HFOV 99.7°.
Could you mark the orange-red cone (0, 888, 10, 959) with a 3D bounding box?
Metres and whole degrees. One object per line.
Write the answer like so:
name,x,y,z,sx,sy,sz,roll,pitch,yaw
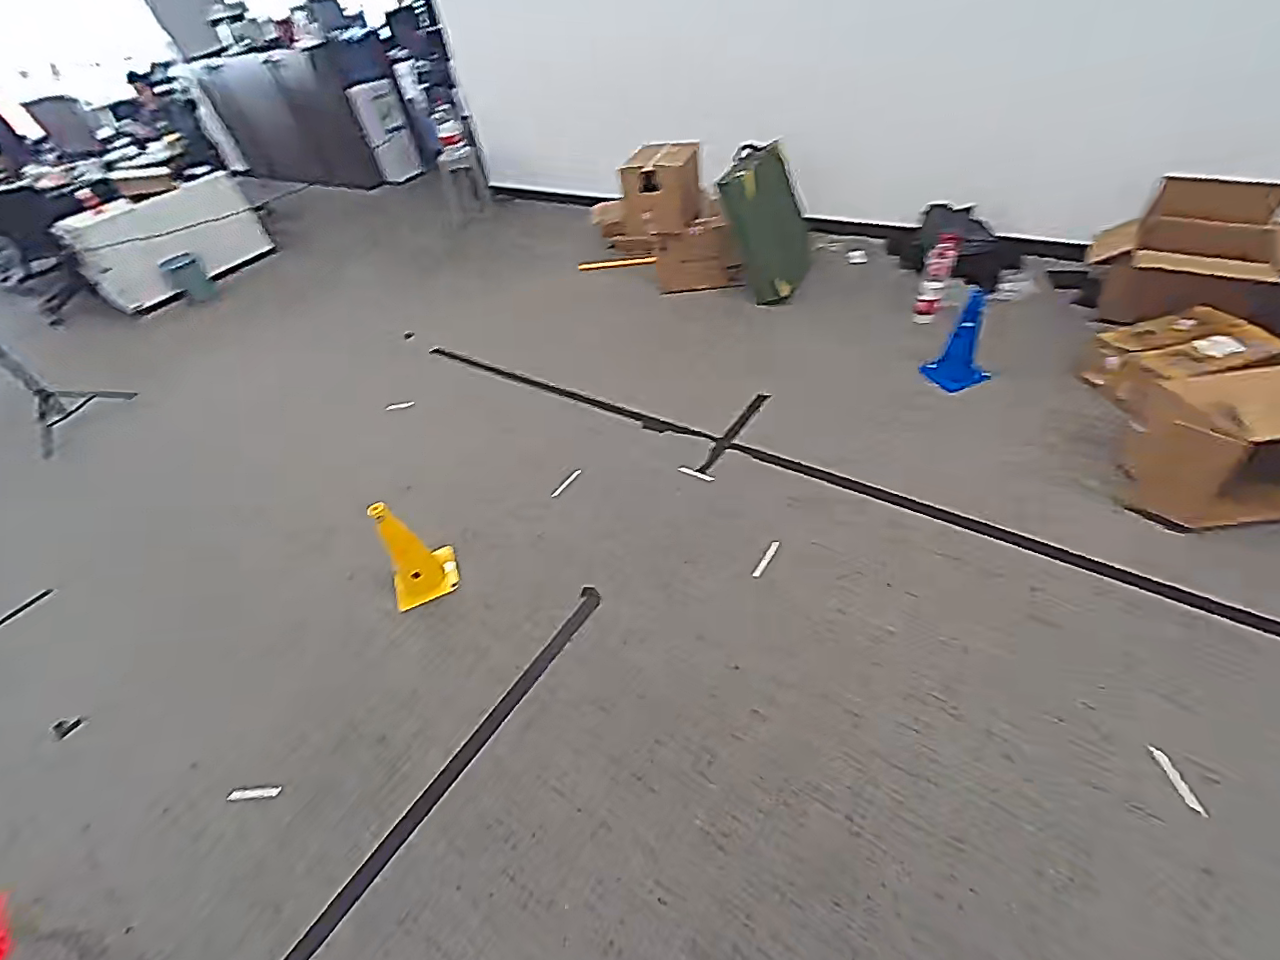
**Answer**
orange-red cone,-1.596,0.975,1.126,0.198,0.360,0.199,30,57,33
